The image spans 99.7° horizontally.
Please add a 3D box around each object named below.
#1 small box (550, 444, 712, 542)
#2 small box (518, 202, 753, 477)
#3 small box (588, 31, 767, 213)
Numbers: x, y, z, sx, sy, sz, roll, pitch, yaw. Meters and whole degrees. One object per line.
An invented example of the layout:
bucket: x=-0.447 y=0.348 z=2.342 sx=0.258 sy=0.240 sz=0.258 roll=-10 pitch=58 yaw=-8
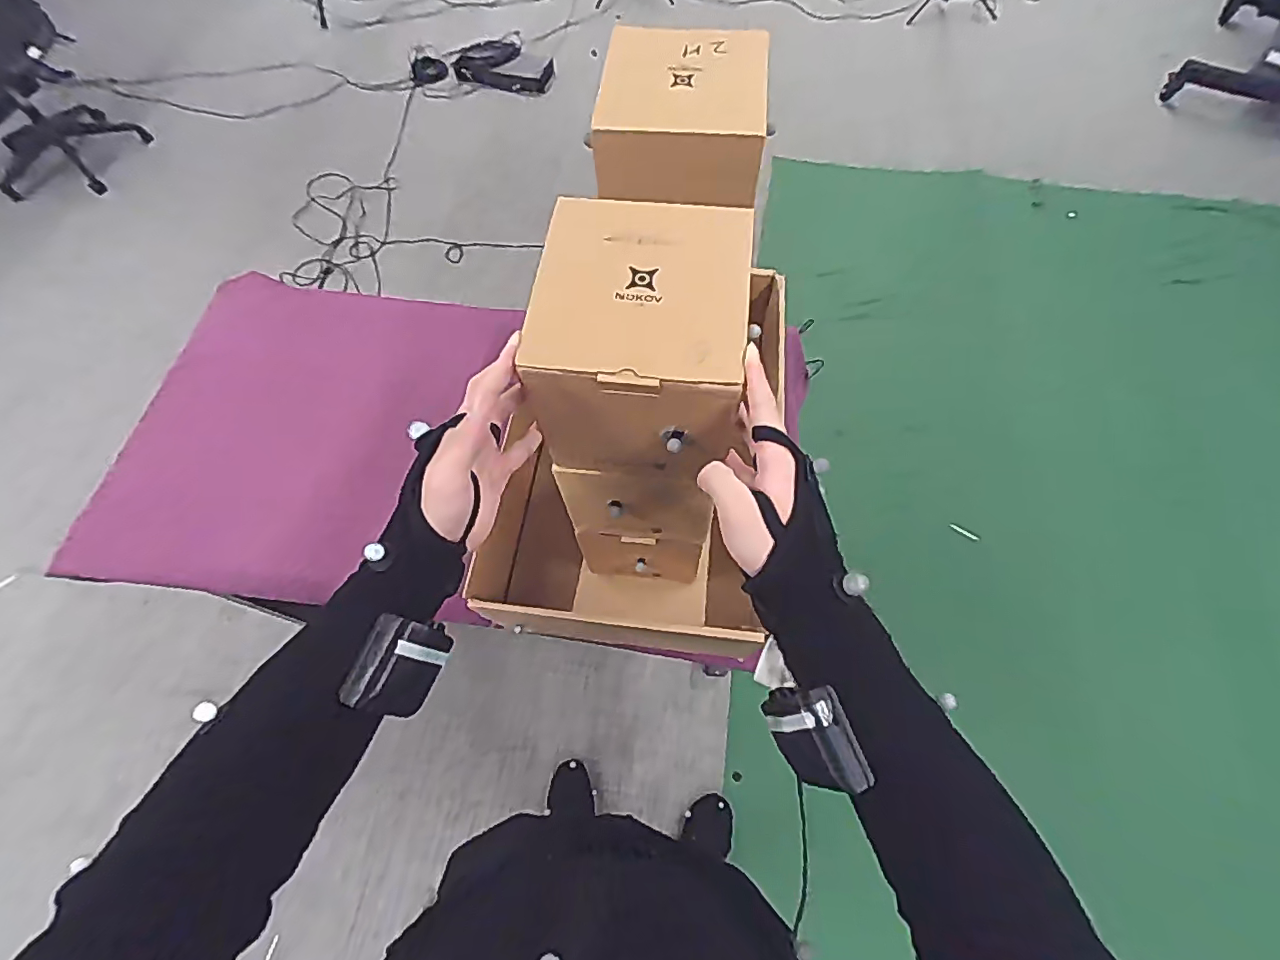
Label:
small box: x=0.004 y=-0.039 z=0.640 sx=0.168 sy=0.176 sz=0.179 roll=5 pitch=62 yaw=5
small box: x=0.004 y=-0.115 z=0.488 sx=0.168 sy=0.176 sz=0.179 roll=5 pitch=67 yaw=4
small box: x=0.045 y=-0.360 z=0.609 sx=0.168 sy=0.176 sz=0.179 roll=6 pitch=65 yaw=4
